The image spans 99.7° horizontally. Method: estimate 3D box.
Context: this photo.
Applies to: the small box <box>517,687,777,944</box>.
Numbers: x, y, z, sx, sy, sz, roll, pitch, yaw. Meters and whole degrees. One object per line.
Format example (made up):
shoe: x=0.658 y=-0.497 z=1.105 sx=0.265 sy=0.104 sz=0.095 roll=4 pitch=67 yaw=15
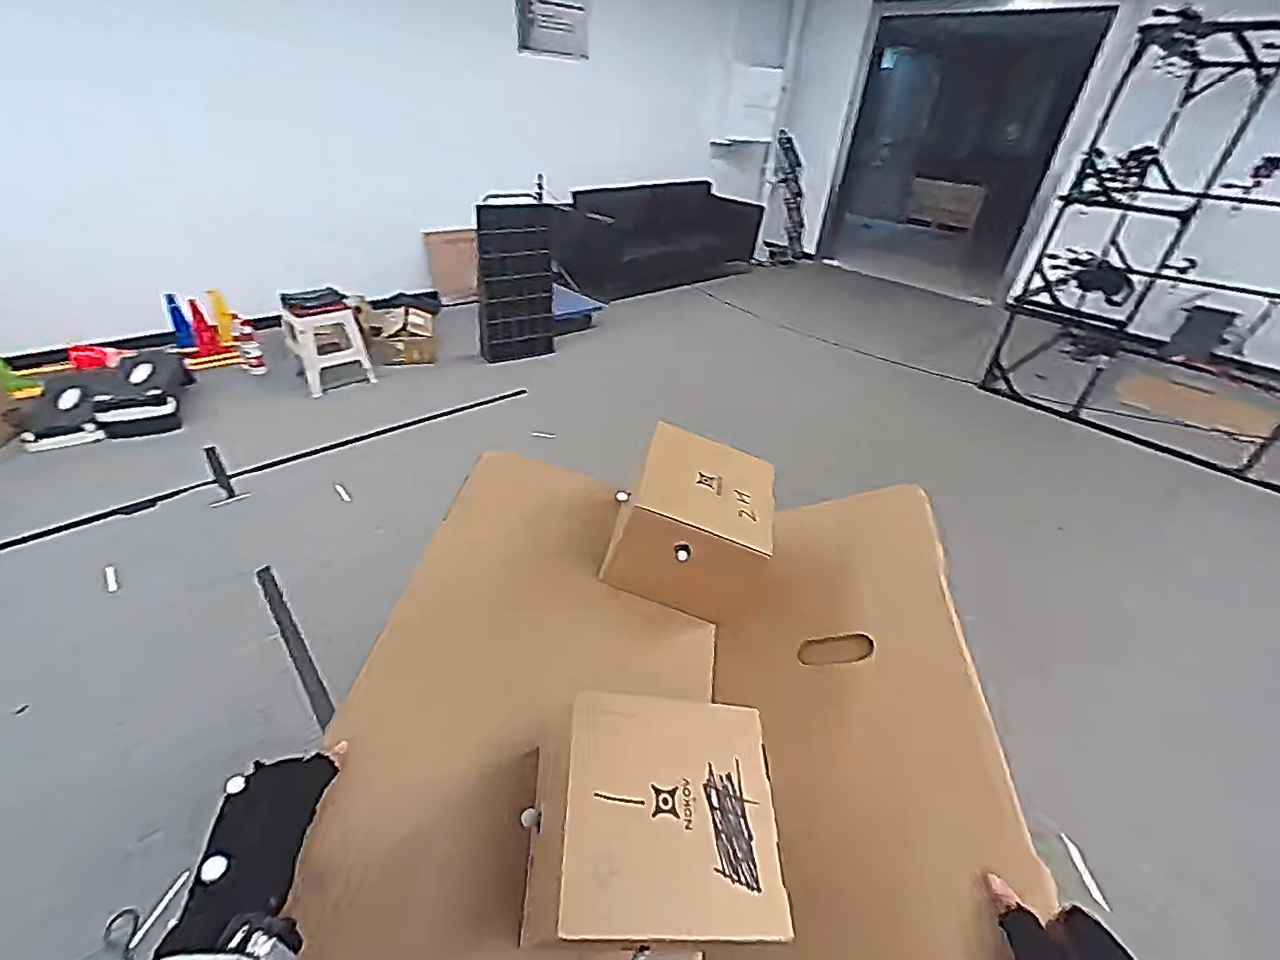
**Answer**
small box: x=-0.004 y=0.308 z=0.493 sx=0.179 sy=0.176 sz=0.168 roll=11 pitch=46 yaw=-13
